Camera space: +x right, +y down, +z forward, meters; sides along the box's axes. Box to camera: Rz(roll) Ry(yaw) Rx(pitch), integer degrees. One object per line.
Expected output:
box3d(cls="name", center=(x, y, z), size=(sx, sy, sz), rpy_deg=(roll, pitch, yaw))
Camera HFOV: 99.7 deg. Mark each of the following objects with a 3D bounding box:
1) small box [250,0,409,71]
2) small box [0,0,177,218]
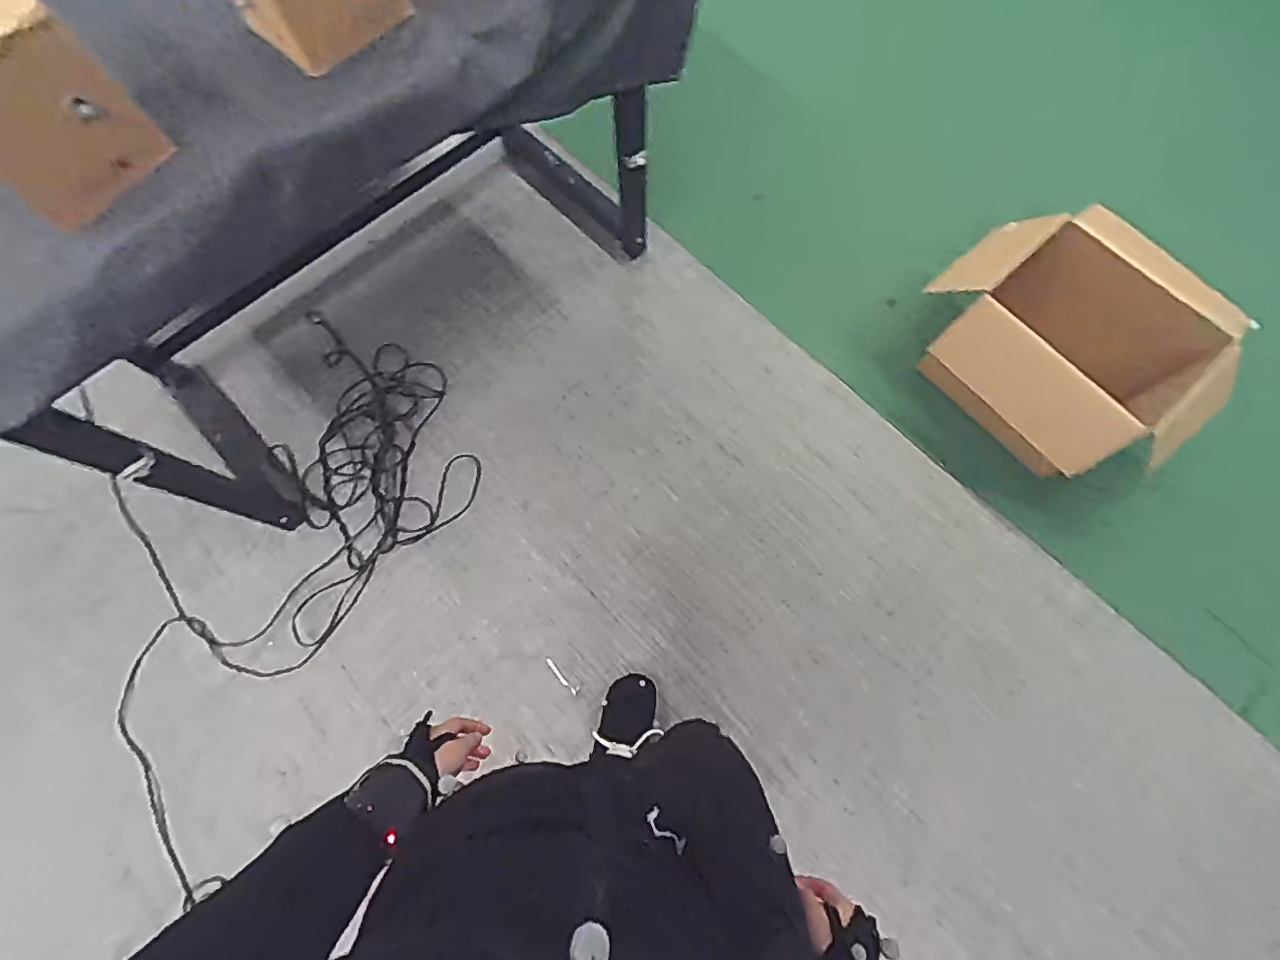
box3d(cls="small box", center=(-0.424, -0.681, 0.686), size=(0.168, 0.176, 0.179), rpy_deg=(43, 78, 12))
box3d(cls="small box", center=(-0.696, -0.435, 0.610), size=(0.179, 0.176, 0.168), rpy_deg=(35, 74, 11))
